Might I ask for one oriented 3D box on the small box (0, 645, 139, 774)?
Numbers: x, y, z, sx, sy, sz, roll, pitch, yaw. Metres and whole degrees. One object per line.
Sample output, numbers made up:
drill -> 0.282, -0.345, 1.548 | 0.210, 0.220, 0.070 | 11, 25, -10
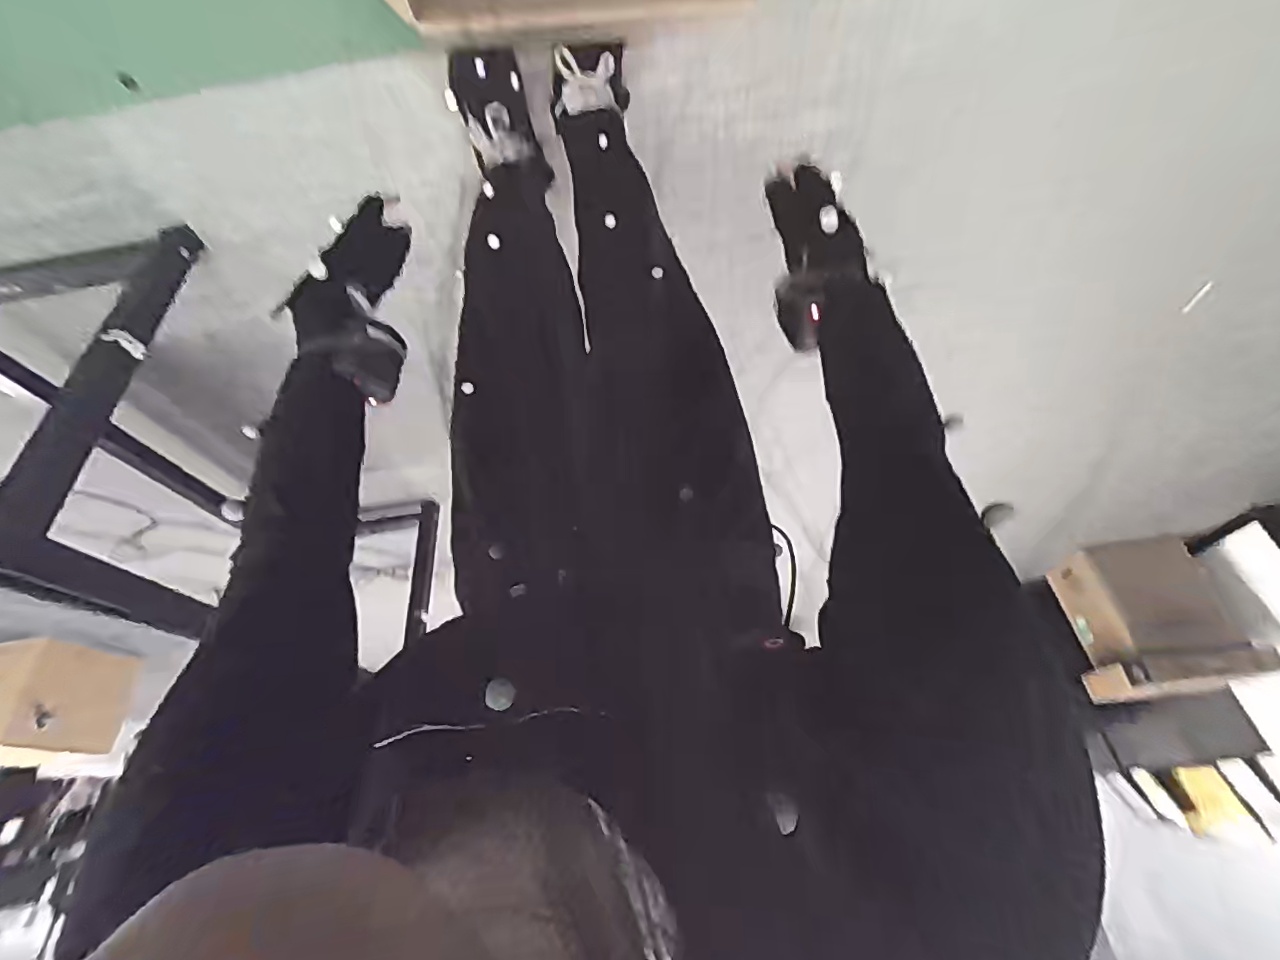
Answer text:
small box -> -1.021, 0.384, 0.910 | 0.168, 0.176, 0.179 | -9, 148, 5
